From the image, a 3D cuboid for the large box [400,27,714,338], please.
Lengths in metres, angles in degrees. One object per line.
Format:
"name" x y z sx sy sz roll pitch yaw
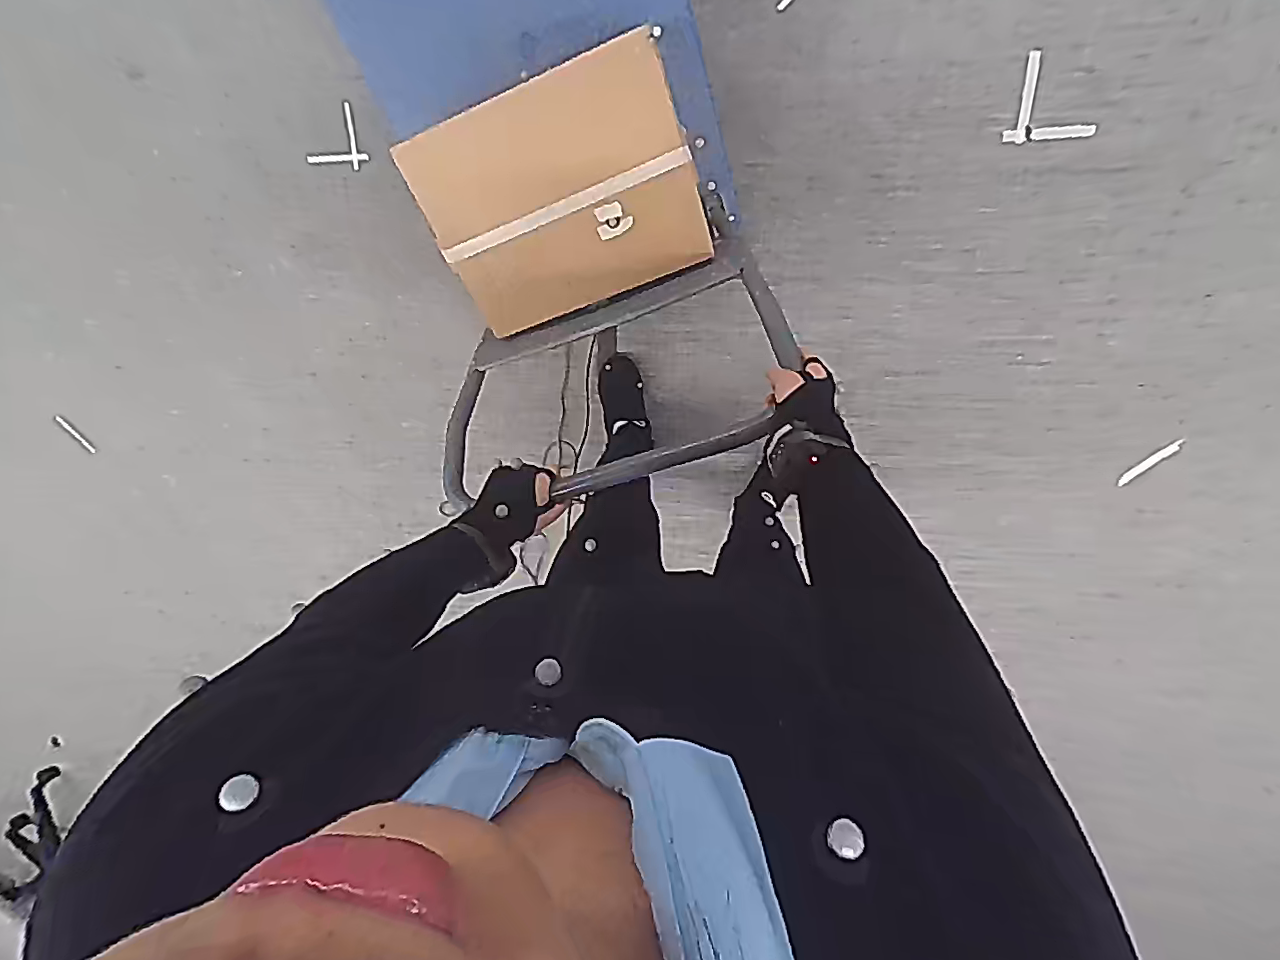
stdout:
"large box" -0.122 -0.512 0.952 0.408 0.320 0.320 -18 127 11
